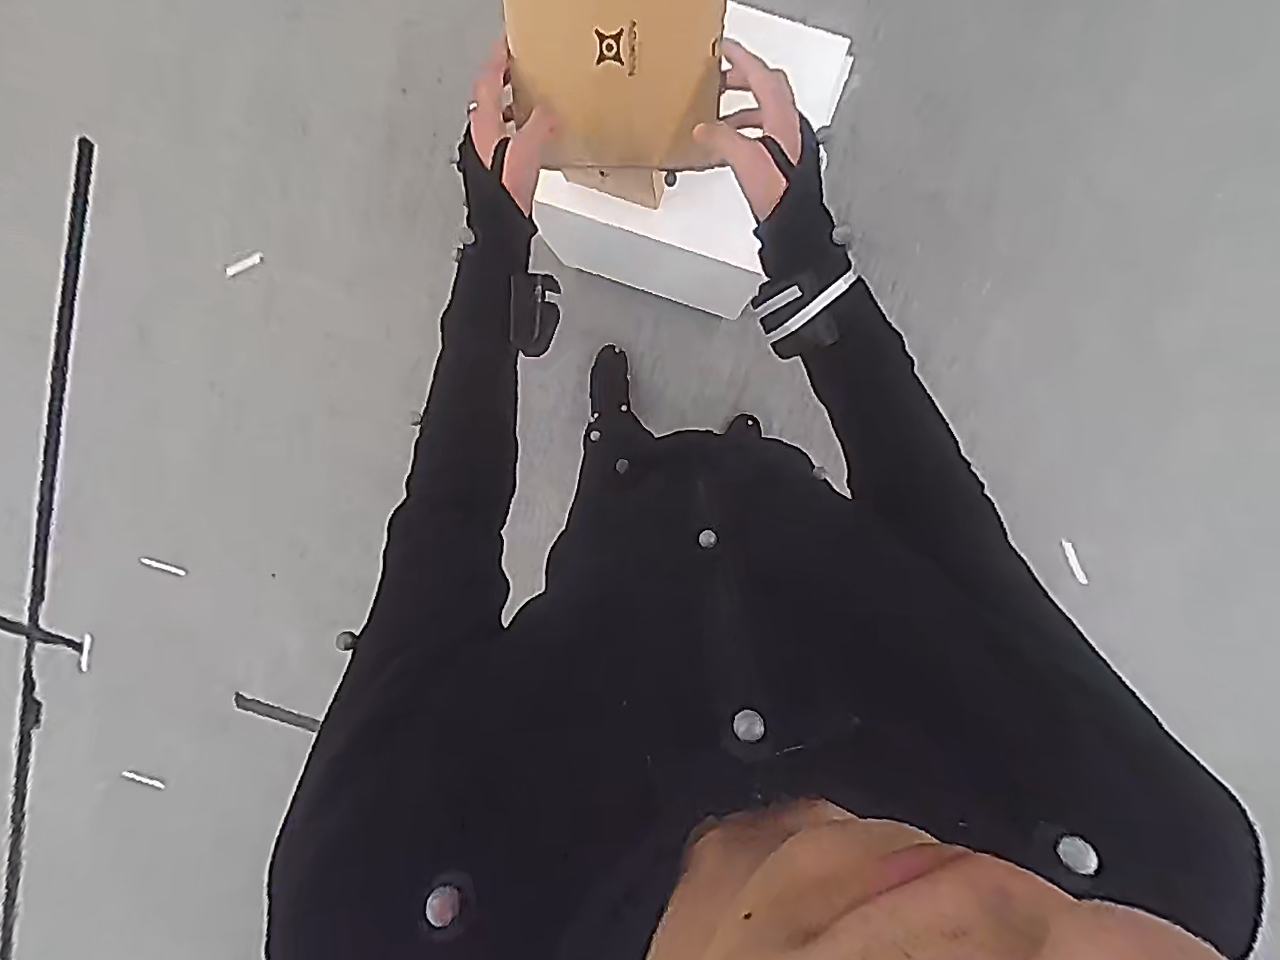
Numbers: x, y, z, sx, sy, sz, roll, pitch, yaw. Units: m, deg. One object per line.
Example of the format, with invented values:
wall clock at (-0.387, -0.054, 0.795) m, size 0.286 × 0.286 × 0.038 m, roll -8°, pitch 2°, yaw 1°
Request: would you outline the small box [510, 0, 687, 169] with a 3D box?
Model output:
small box at (-0.044, -0.547, 0.699) m, size 0.168 × 0.176 × 0.179 m, roll 21°, pitch 99°, yaw 1°
